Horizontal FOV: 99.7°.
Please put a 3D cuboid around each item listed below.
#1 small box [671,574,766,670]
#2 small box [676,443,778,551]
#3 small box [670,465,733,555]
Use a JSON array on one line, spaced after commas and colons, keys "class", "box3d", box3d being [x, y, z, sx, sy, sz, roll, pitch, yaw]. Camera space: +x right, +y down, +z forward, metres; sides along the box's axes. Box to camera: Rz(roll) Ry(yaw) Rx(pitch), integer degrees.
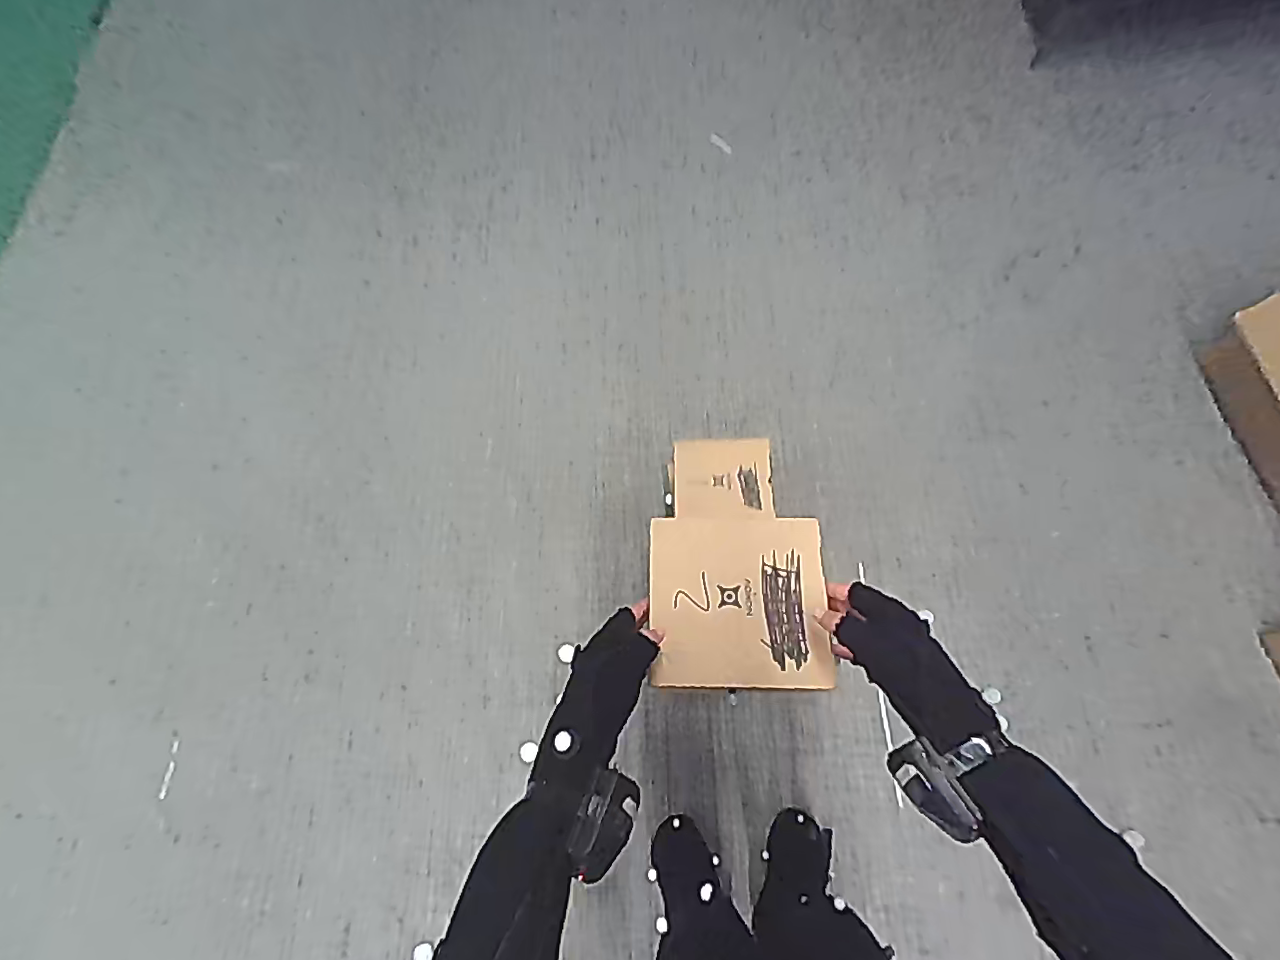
[{"class": "small box", "box3d": [0.160, 0.296, 1.110, 0.179, 0.176, 0.168, 3, 70, 6]}, {"class": "small box", "box3d": [0.158, 0.037, 1.033, 0.179, 0.176, 0.168, -1, 70, 5]}, {"class": "small box", "box3d": [0.164, 0.064, 1.199, 0.179, 0.176, 0.168, -7, 69, 2]}]
